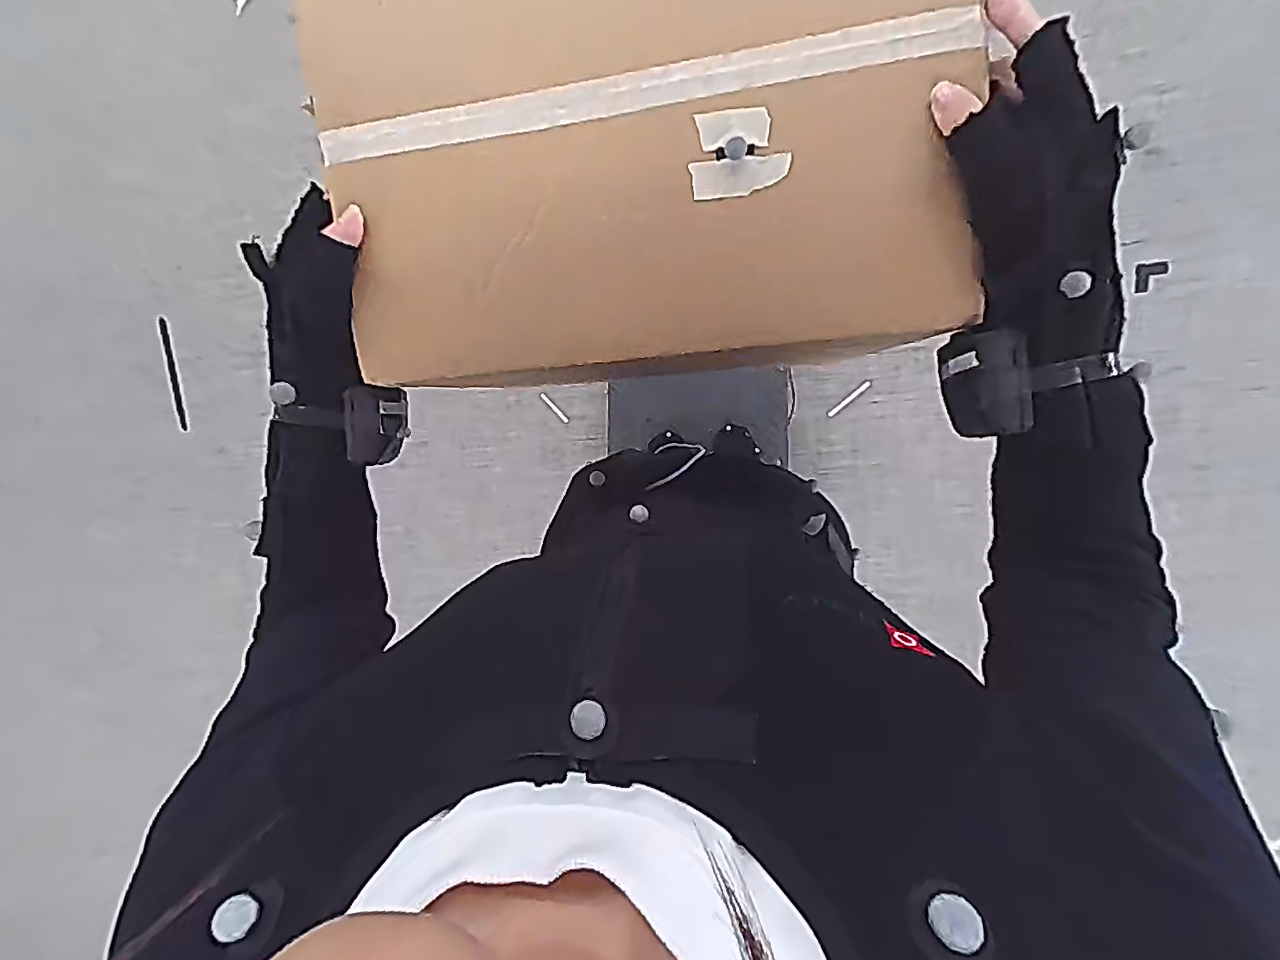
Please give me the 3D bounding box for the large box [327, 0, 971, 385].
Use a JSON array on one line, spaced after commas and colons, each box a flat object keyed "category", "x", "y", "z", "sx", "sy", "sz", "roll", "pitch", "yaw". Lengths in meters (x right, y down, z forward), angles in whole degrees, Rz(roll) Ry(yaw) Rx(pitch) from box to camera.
[{"category": "large box", "x": 0.014, "y": -0.263, "z": 0.489, "sx": 0.408, "sy": 0.320, "sz": 0.320, "roll": -4, "pitch": 99, "yaw": 9}]
